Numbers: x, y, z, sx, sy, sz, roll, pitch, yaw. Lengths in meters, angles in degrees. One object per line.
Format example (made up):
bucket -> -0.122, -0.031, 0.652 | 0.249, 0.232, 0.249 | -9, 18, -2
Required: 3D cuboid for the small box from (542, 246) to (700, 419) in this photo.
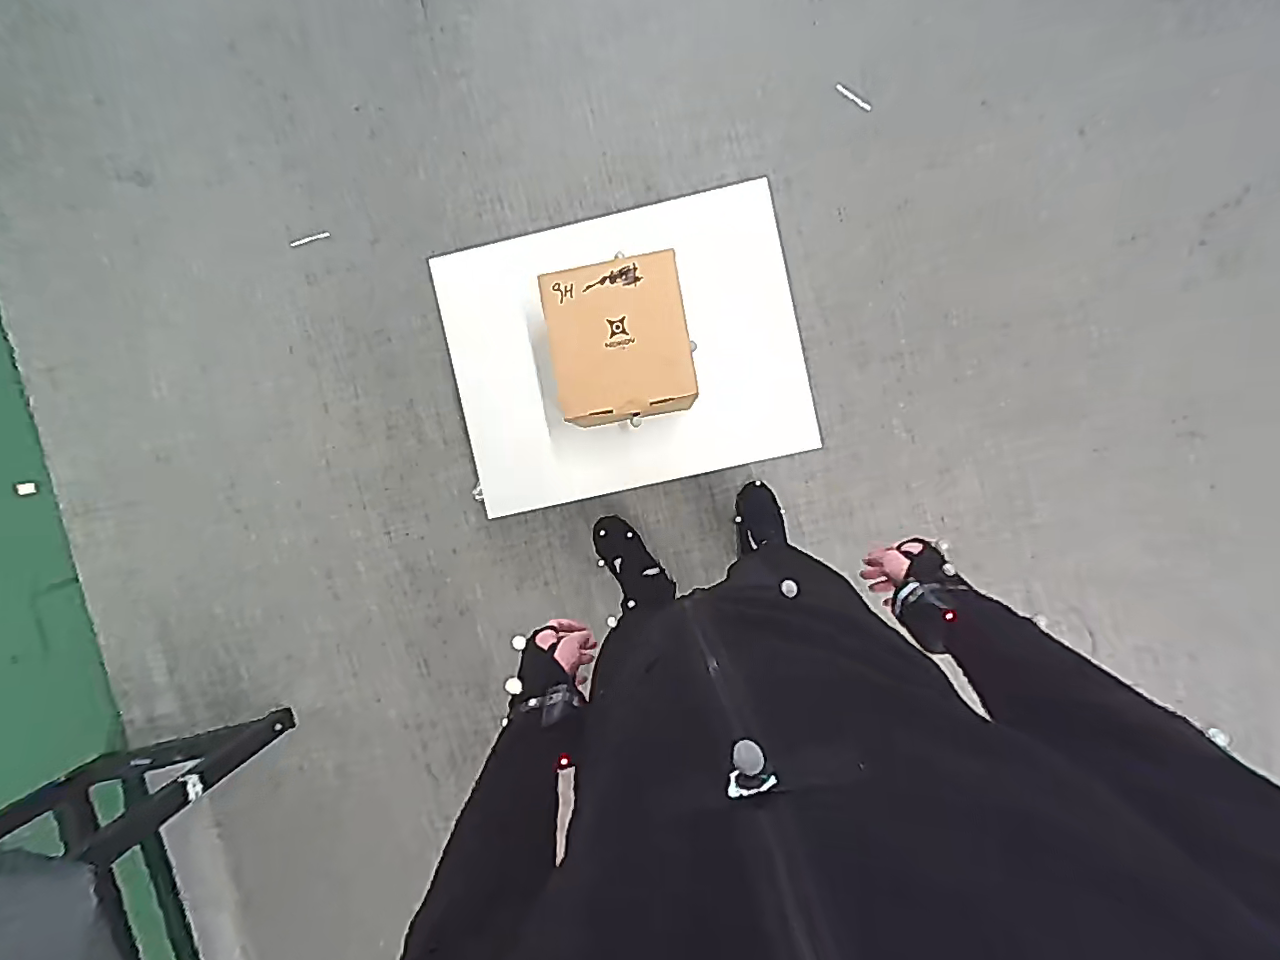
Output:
small box -> -0.017, -0.181, 0.725 | 0.168, 0.176, 0.179 | -12, 91, 3
